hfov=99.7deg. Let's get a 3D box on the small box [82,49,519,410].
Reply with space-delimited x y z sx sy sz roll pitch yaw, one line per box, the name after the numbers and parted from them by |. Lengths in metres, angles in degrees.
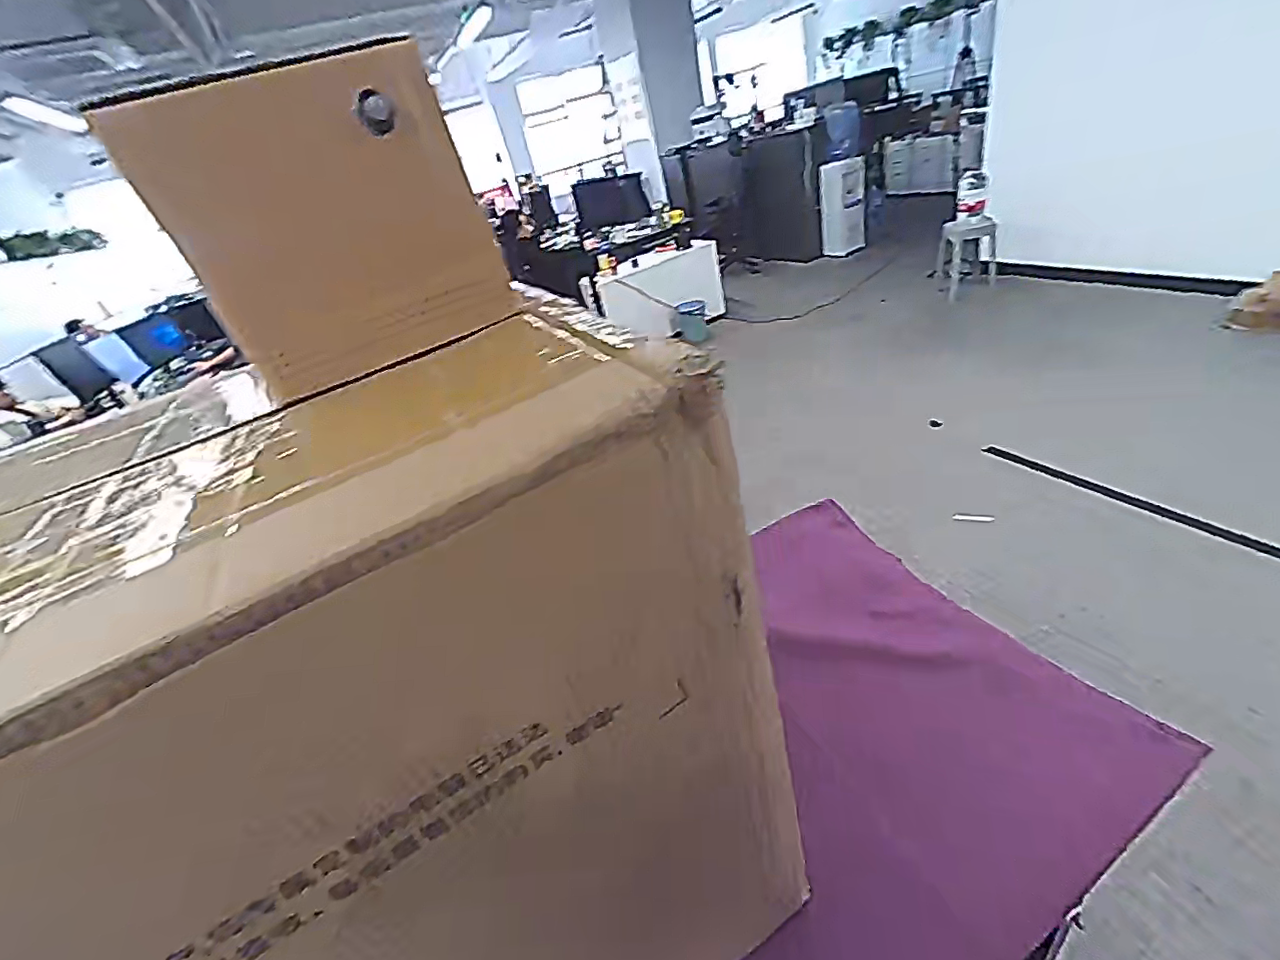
-0.215 -0.170 0.392 0.179 0.176 0.168 -27 33 -17 | small box
